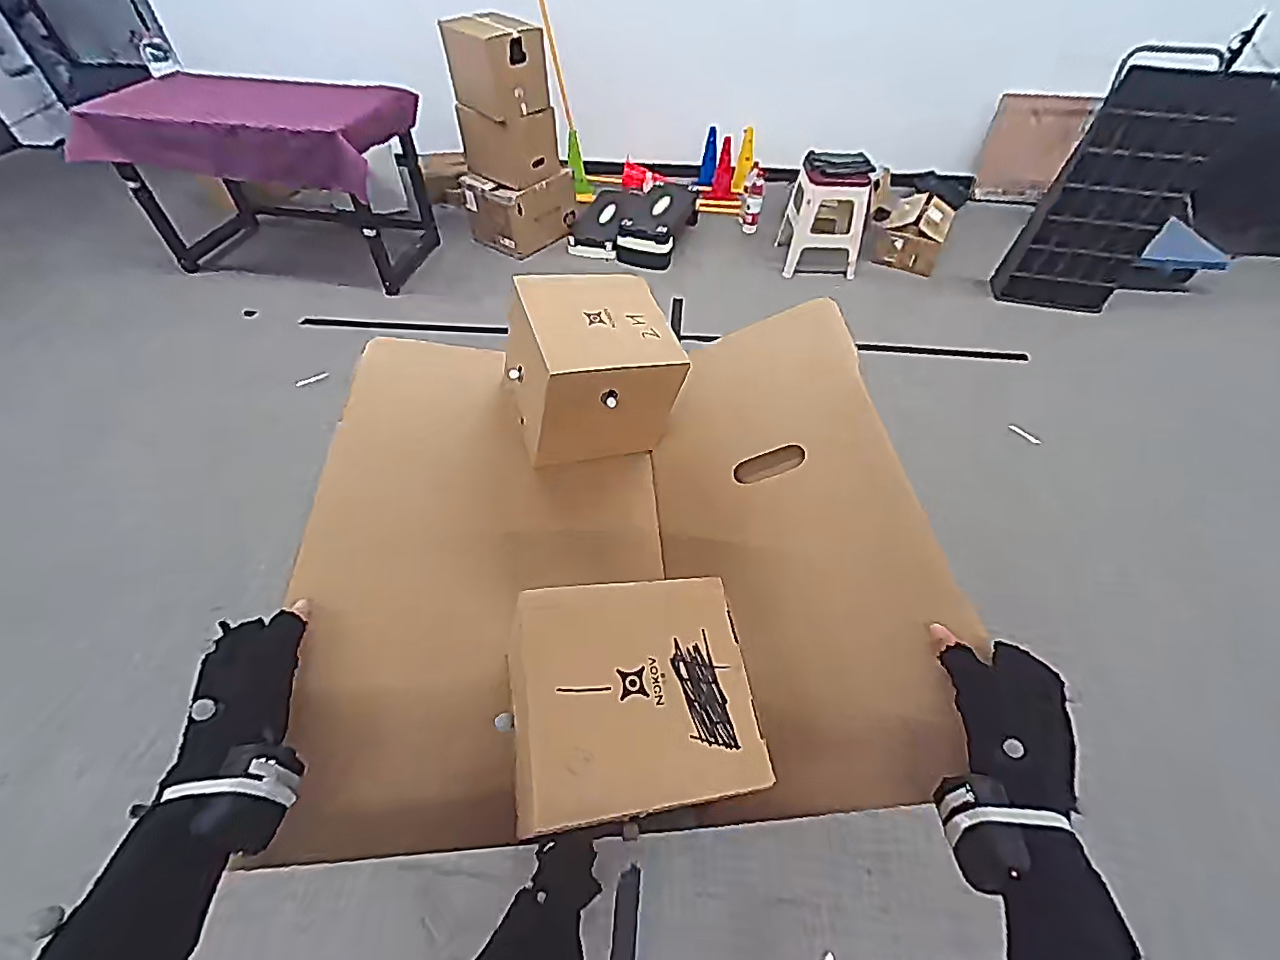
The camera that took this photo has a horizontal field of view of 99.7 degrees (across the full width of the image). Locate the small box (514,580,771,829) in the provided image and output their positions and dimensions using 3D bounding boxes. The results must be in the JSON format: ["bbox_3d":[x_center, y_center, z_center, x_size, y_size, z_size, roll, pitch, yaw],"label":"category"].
[{"bbox_3d":[-0.016,0.199,0.481,0.179,0.176,0.168,0,56,-17],"label":"small box"}]

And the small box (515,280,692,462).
[{"bbox_3d":[-0.061,-0.138,0.706,0.179,0.176,0.168,-8,59,-24],"label":"small box"}]
